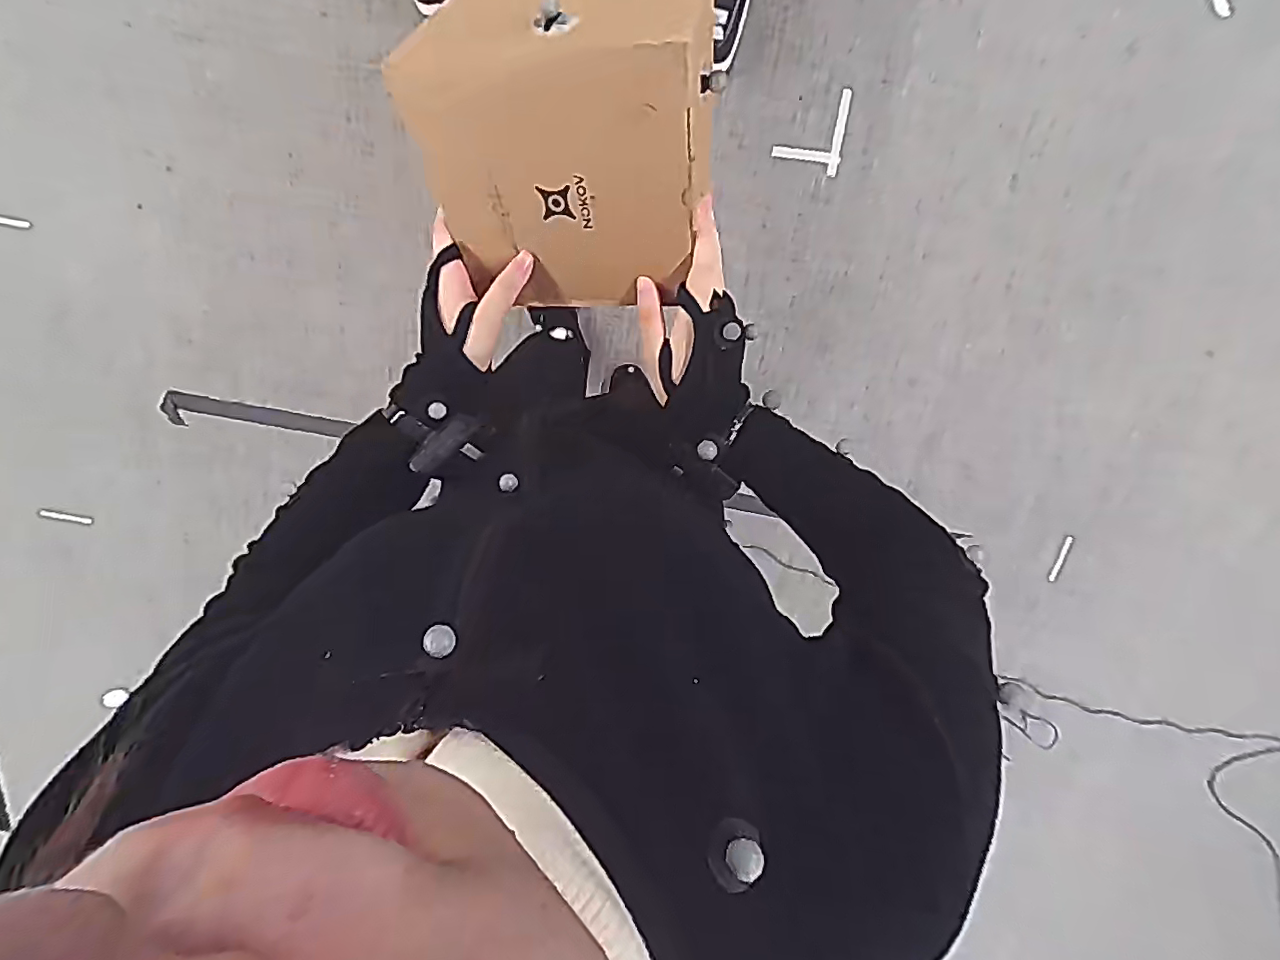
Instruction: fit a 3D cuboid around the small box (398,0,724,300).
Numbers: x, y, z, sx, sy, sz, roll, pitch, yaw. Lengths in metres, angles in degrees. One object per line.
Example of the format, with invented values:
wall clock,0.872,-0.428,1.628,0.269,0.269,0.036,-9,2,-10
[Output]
small box,-0.032,-0.253,0.392,0.179,0.176,0.168,5,145,9
